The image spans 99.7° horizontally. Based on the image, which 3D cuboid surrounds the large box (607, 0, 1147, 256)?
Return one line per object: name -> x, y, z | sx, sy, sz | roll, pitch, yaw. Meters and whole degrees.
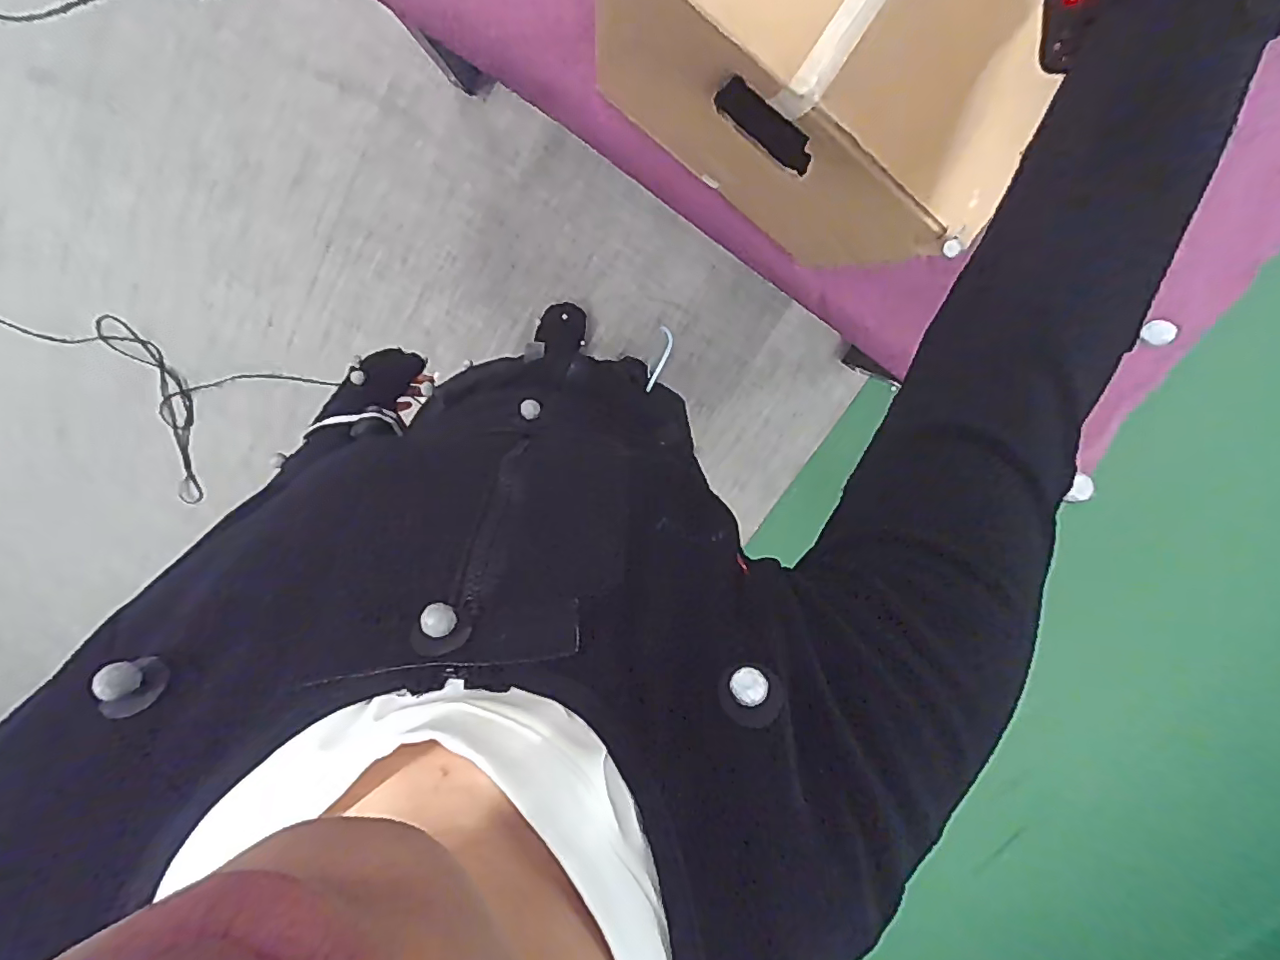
large box -> 0.205, -0.456, 0.452 | 0.320, 0.320, 0.408 | 33, 105, -14
